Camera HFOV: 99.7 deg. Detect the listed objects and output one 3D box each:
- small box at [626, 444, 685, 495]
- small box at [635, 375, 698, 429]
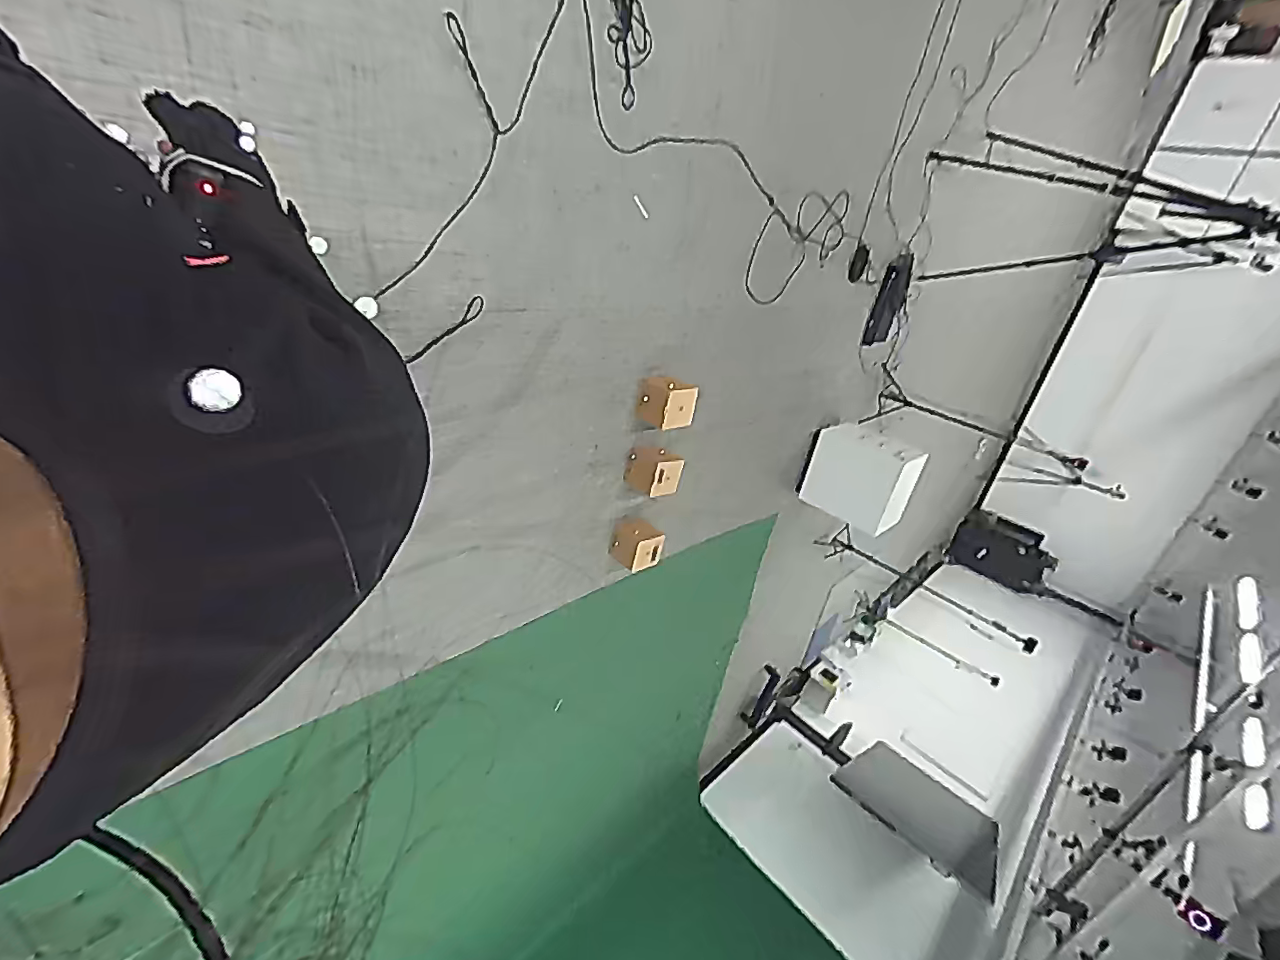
[{"bbox_3d":[0.062,-0.050,2.357,0.179,0.176,0.168,-10,123,-46],"label":"small box"},{"bbox_3d":[0.107,-0.326,2.213,0.179,0.176,0.168,-16,126,-41],"label":"small box"}]
